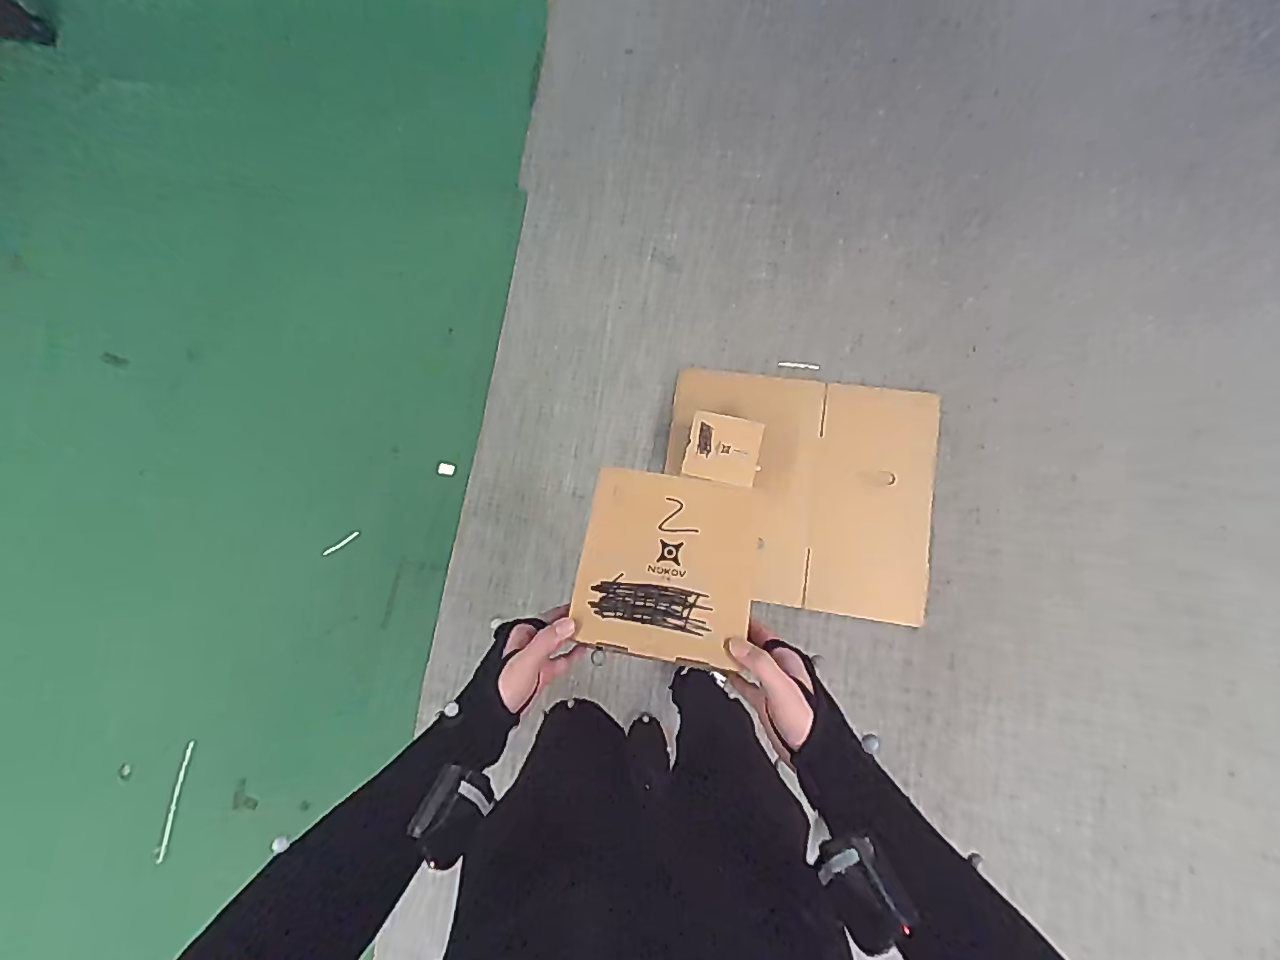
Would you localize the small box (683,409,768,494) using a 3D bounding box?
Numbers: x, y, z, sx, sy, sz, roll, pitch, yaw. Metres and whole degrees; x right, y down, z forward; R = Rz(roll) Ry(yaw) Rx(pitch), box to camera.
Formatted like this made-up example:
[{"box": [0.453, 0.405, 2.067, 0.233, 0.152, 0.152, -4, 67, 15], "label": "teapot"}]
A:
[{"box": [0.215, -0.065, 1.381, 0.179, 0.176, 0.168, 12, 83, 9], "label": "small box"}]
